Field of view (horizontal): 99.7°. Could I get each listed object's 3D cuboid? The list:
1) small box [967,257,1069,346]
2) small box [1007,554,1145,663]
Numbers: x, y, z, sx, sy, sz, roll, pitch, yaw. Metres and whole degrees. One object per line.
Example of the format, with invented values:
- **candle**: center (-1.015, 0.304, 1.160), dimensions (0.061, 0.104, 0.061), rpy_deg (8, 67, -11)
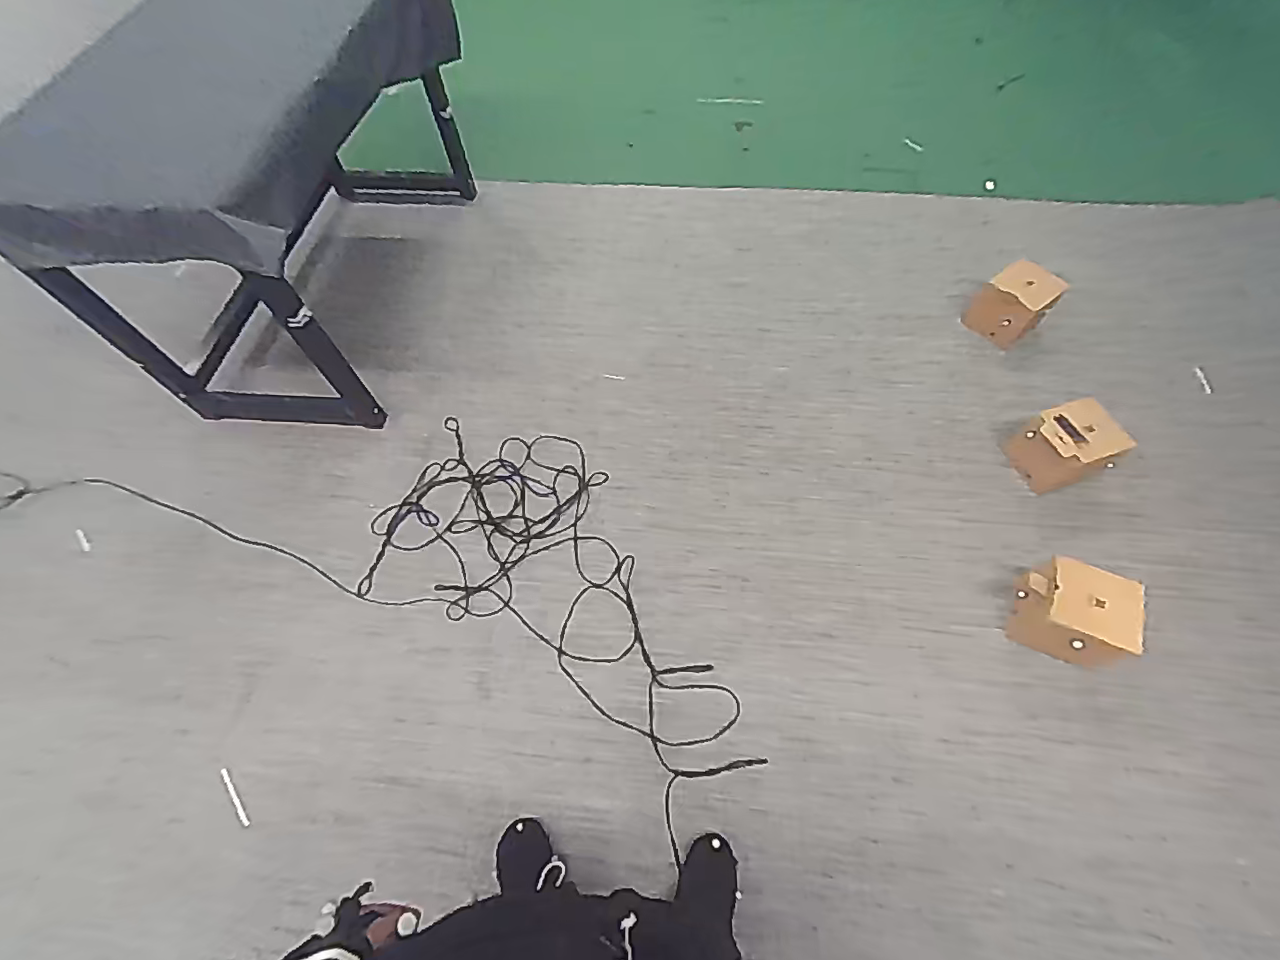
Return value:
- **small box**: center (1.166, -0.552, 1.689), dimensions (0.179, 0.176, 0.168), rpy_deg (-34, 66, -17)
- **small box**: center (0.976, 0.296, 1.218), dimensions (0.179, 0.176, 0.168), rpy_deg (22, 64, 14)
